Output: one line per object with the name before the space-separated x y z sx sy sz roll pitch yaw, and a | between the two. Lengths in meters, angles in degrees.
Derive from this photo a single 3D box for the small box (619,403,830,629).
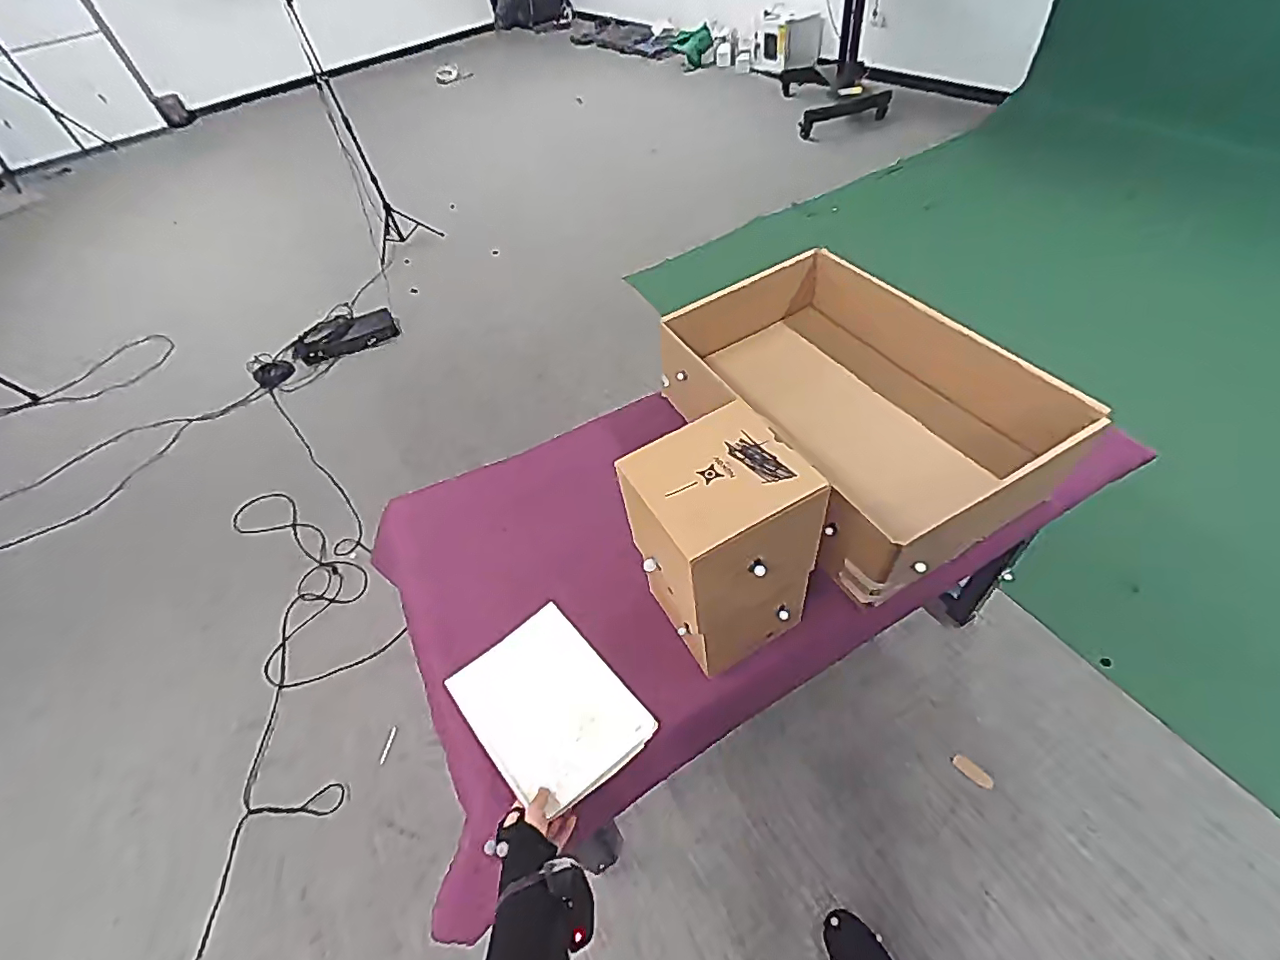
small box | 0.096 0.044 0.650 0.179 0.176 0.168 -26 49 -13

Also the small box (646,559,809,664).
small box | 0.119 0.141 0.781 0.168 0.176 0.179 -26 49 -13
